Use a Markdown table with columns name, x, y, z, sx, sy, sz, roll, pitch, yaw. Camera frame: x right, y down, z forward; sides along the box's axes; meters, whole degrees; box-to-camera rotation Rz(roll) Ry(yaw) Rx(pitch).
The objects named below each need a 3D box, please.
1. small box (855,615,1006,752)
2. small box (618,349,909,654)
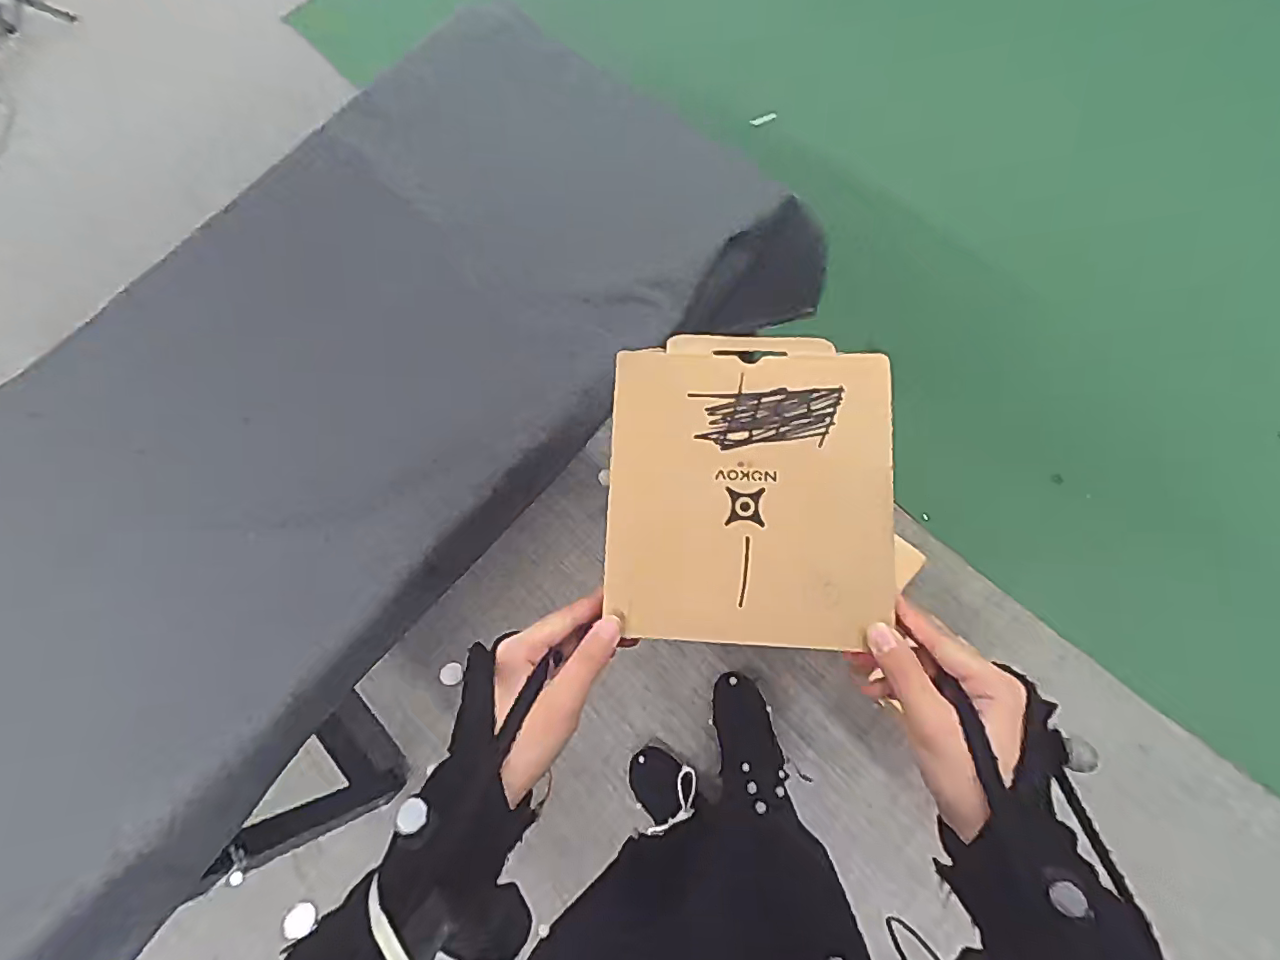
| name | x | y | z | sx | sy | sz | roll | pitch | yaw |
| --- | --- | --- | --- | --- | --- | --- | --- | --- | --- |
| small box | 0.544 | 0.383 | 1.044 | 0.179 | 0.176 | 0.168 | -44 | 71 | -5 |
| small box | 0.080 | 0.020 | 0.399 | 0.168 | 0.176 | 0.179 | 3 | 81 | 6 |
